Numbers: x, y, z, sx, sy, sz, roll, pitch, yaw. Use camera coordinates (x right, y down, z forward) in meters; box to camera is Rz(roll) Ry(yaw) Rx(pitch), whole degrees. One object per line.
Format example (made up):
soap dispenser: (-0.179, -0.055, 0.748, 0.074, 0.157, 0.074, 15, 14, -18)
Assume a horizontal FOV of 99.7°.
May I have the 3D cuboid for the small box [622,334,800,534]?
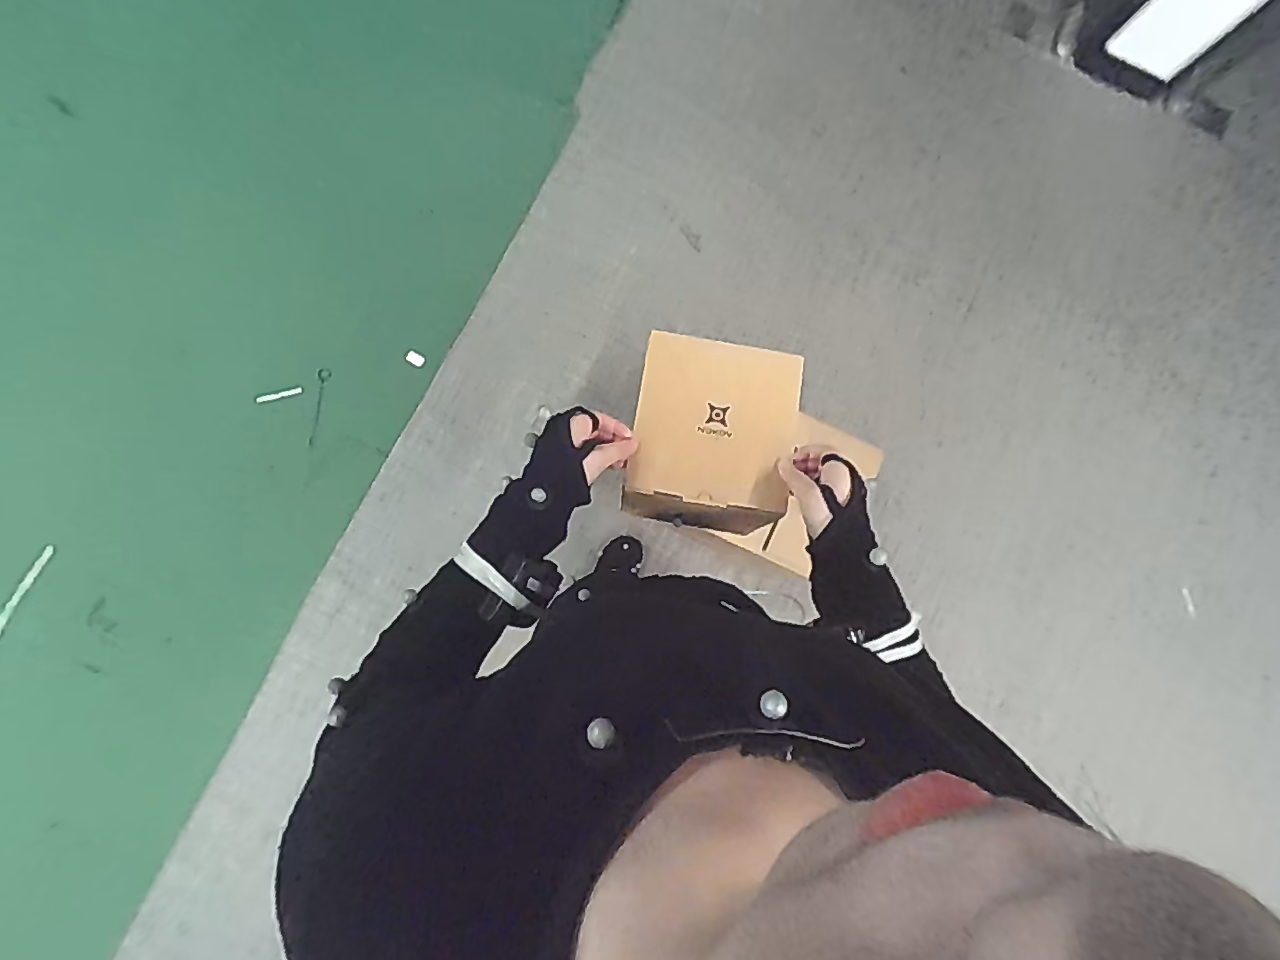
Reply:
small box: (0.072, -0.042, 0.631, 0.168, 0.176, 0.179, 10, 79, 0)
